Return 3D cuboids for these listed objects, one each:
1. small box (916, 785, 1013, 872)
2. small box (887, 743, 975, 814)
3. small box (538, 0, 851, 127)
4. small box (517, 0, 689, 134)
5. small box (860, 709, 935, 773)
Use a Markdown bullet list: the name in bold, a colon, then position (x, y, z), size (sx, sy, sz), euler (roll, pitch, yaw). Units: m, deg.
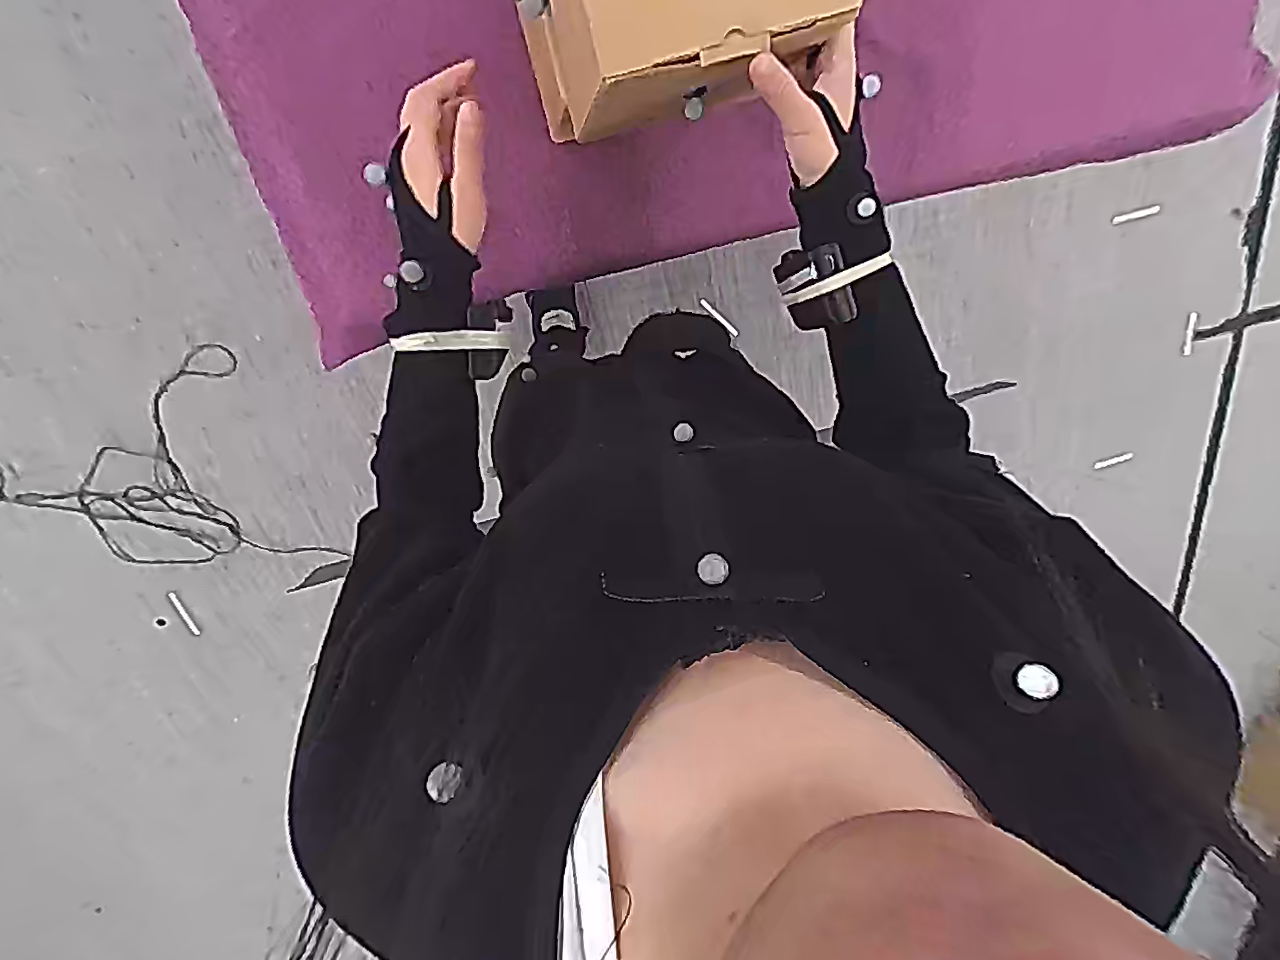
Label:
- **small box**: position (1.049, 1.131, 1.764), size (0.179, 0.176, 0.168), euler (24, 107, -20)
- **small box**: position (1.020, 1.065, 1.913), size (0.179, 0.176, 0.168), euler (24, 106, -21)
- **small box**: position (0.016, -0.360, 0.361), size (0.168, 0.176, 0.179), euler (-18, 115, -4)
- **small box**: position (-0.023, -0.442, 0.499), size (0.168, 0.176, 0.179), euler (-17, 114, -5)
- **small box**: position (0.984, 1.008, 2.060), size (0.179, 0.176, 0.168), euler (29, 103, -21)
